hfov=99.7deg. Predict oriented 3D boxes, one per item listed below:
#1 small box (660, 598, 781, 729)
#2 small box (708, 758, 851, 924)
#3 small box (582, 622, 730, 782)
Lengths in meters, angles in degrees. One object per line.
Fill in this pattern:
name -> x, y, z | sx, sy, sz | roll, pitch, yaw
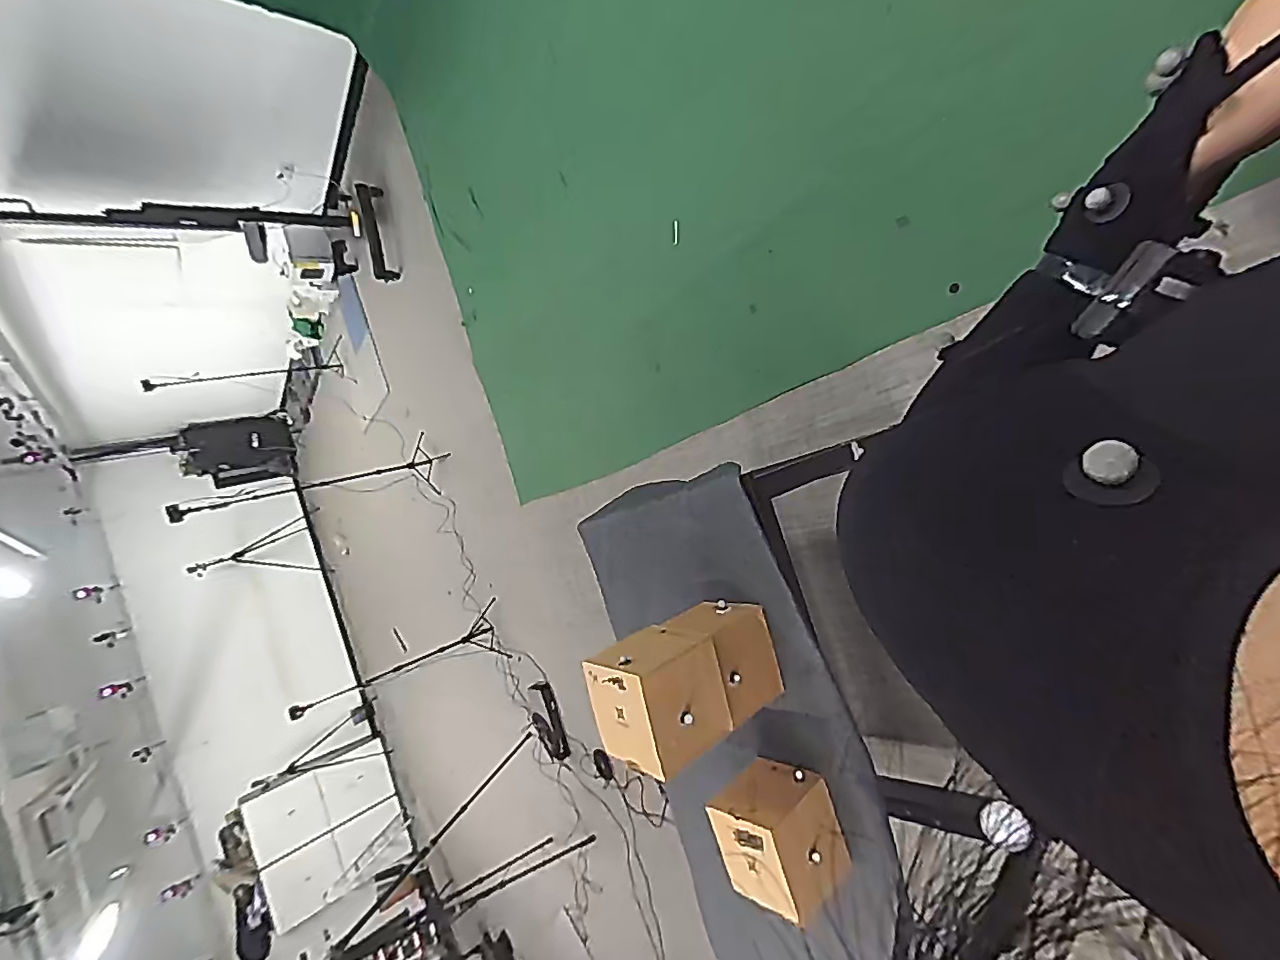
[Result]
small box -> 0.146, 0.342, 1.040 | 0.168, 0.176, 0.179 | -15, 91, 50
small box -> 0.263, 0.659, 1.017 | 0.168, 0.176, 0.179 | -19, 90, 52
small box -> 0.031, 0.365, 0.924 | 0.168, 0.176, 0.179 | -10, 96, 50
